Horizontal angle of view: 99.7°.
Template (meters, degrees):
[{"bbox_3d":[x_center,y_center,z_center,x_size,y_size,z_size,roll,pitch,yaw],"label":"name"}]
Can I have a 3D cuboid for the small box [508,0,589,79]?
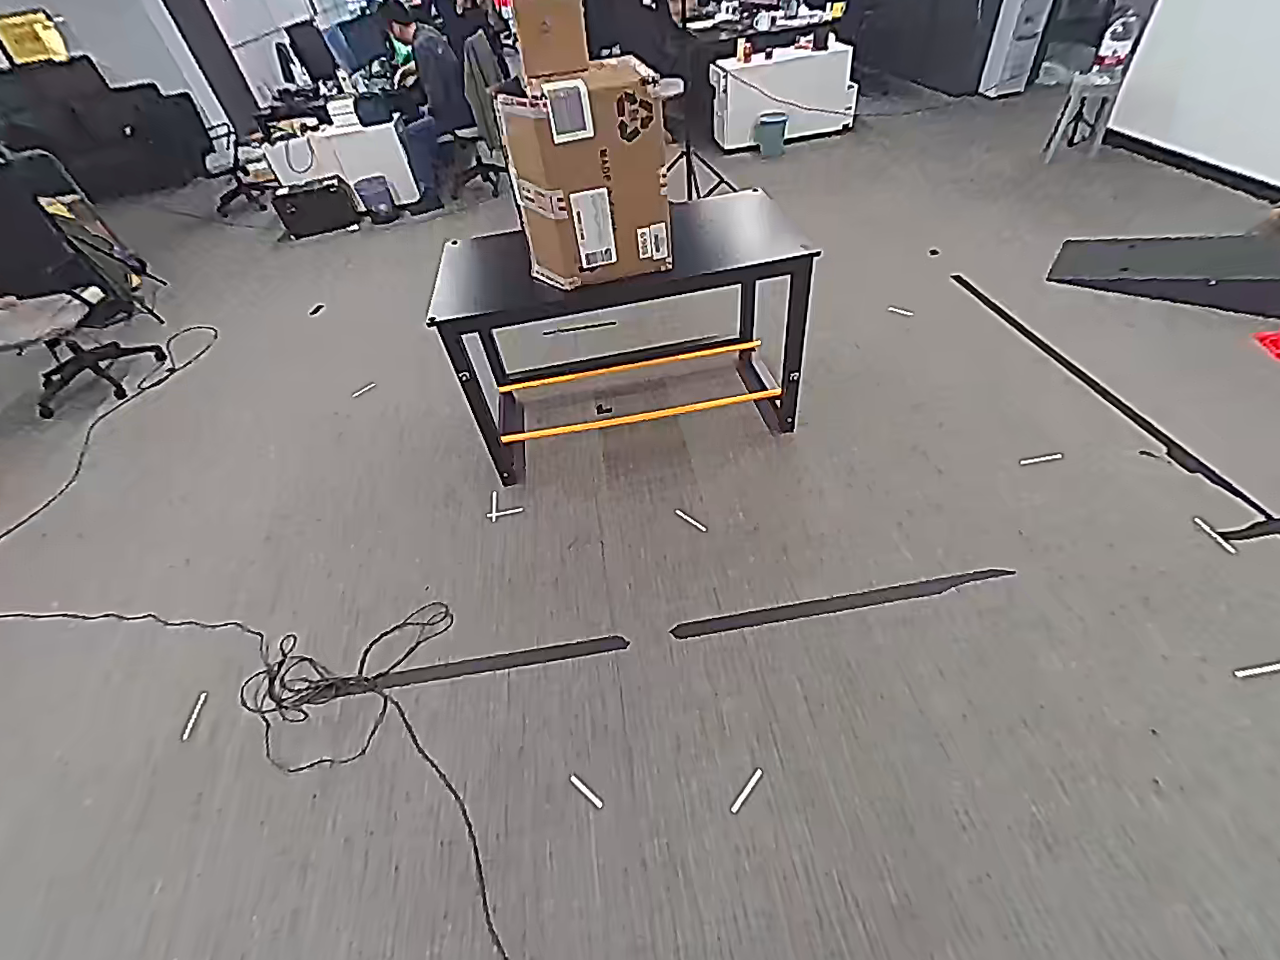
[{"bbox_3d":[-0.244,-1.194,1.448,0.179,0.176,0.168,-13,43,-5],"label":"small box"}]
